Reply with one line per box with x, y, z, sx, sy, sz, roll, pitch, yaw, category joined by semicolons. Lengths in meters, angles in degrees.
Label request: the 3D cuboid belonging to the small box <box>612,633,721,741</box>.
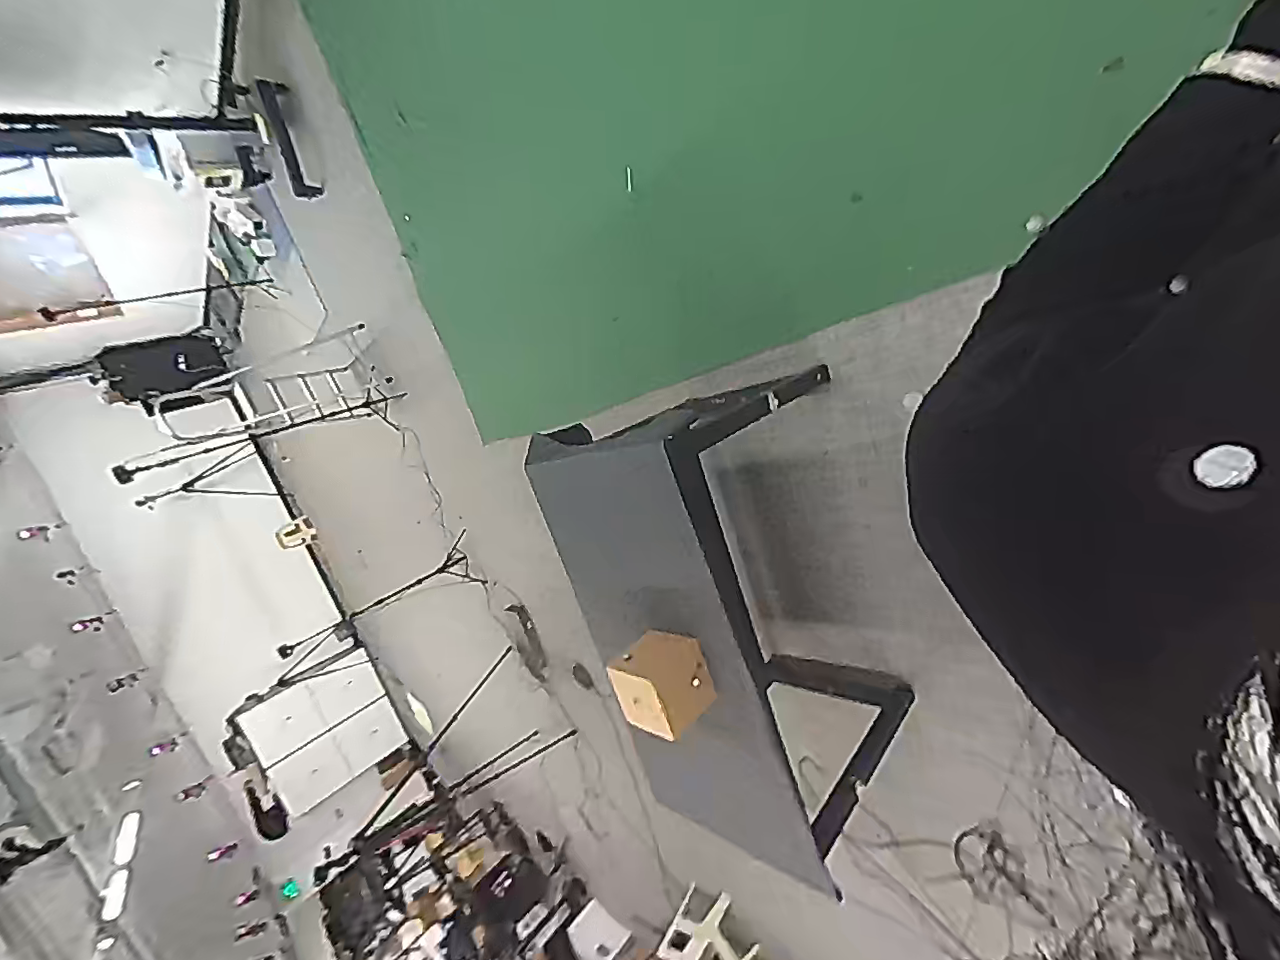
0.066;0.495;1.325;0.179;0.176;0.168;-8;107;50;small box
